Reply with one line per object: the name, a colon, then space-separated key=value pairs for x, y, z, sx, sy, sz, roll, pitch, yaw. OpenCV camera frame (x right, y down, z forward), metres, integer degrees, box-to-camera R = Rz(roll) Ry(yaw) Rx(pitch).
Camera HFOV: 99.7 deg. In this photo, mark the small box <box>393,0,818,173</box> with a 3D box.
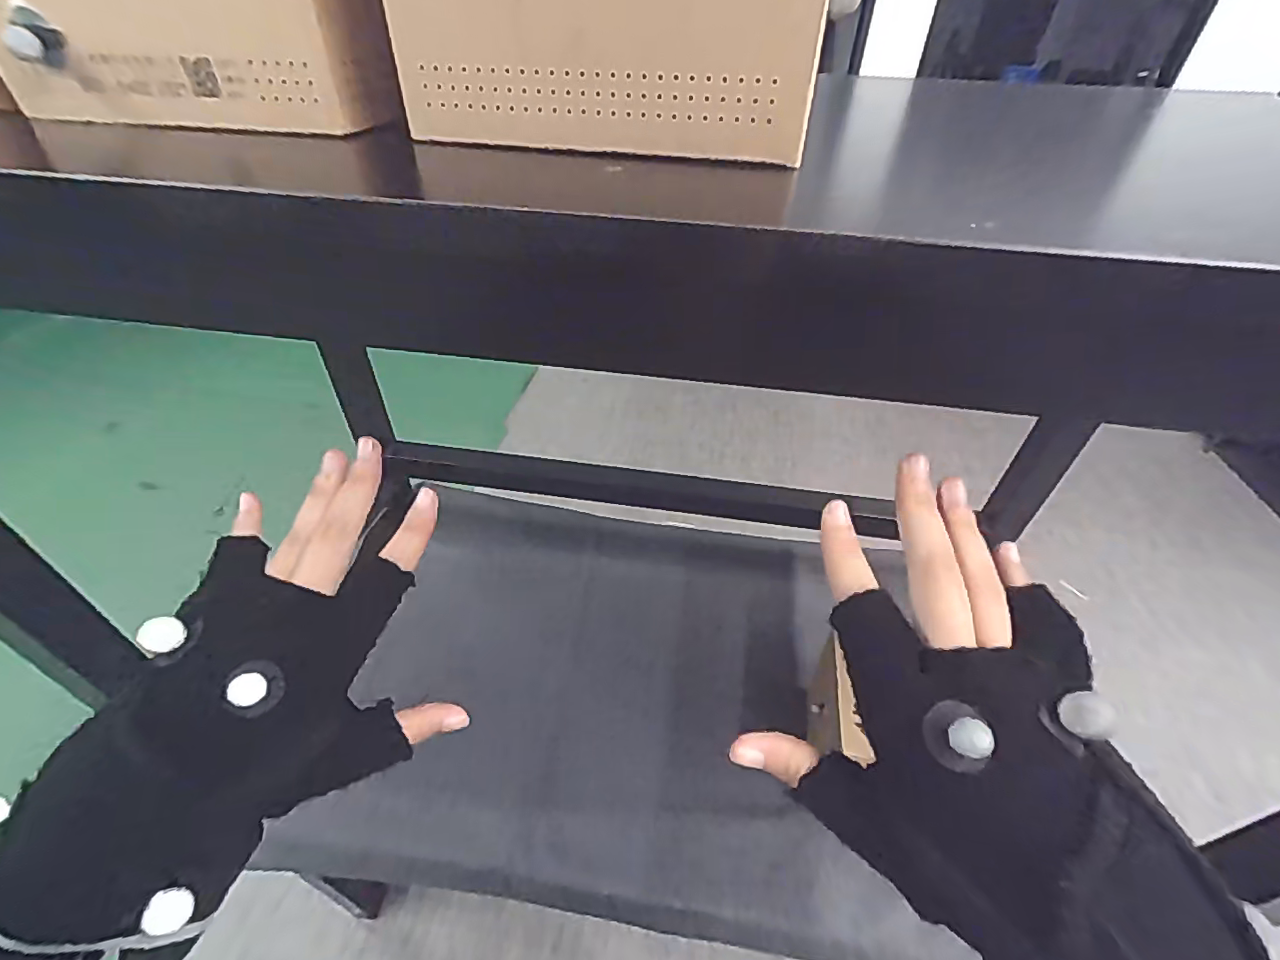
small box: x=-0.004 y=-0.251 z=0.246 sx=0.179 sy=0.176 sz=0.168 roll=10 pitch=42 yaw=8
